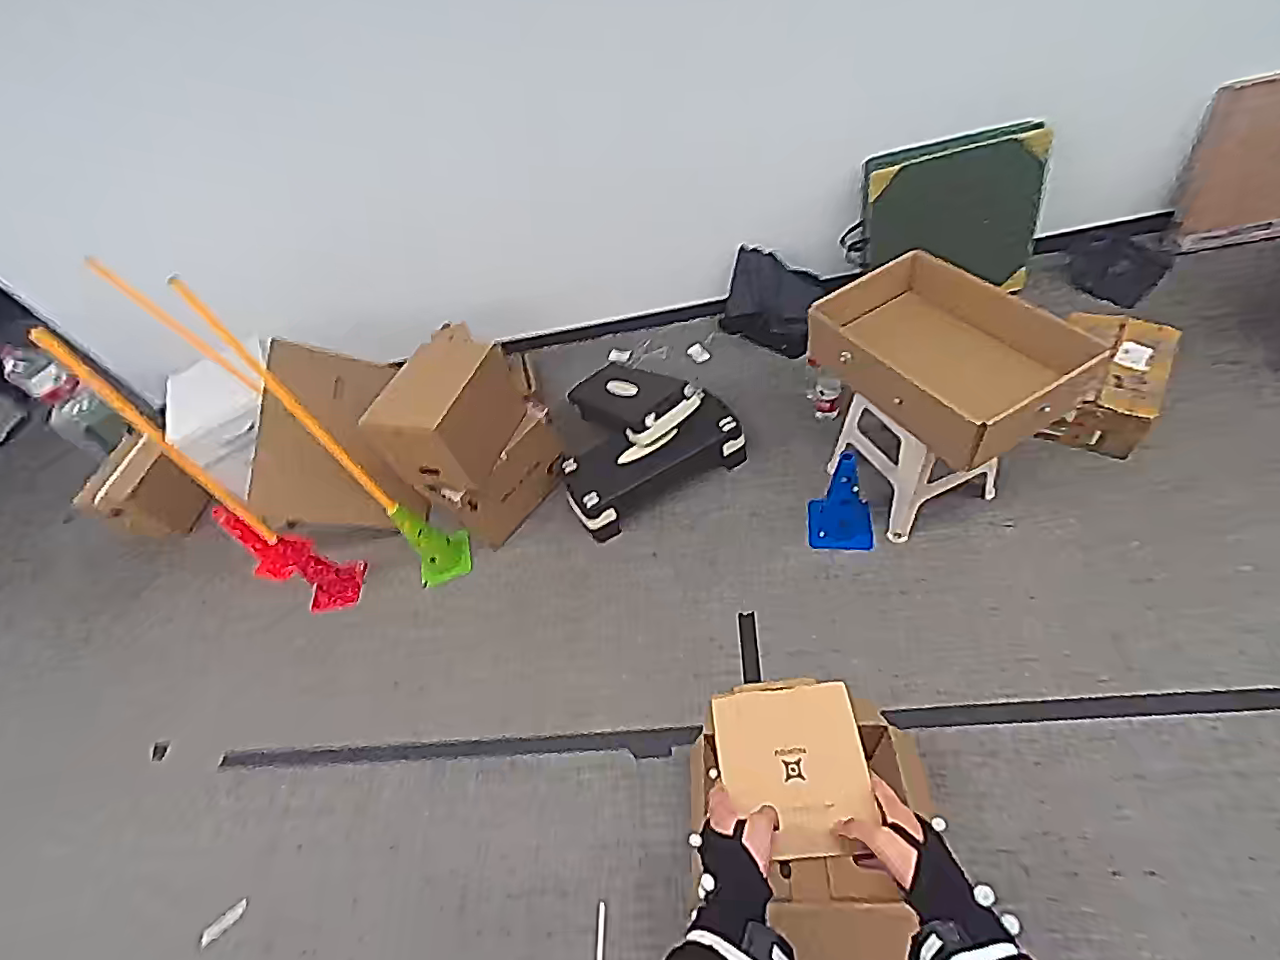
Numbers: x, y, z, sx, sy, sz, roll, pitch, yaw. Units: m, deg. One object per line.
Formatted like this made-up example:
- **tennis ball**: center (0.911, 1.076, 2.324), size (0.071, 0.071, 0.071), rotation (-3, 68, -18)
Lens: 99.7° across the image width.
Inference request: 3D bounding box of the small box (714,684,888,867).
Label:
- **small box**: center (0.184, 0.375, 0.680), size (0.168, 0.176, 0.179), rotation (-7, 54, 4)
